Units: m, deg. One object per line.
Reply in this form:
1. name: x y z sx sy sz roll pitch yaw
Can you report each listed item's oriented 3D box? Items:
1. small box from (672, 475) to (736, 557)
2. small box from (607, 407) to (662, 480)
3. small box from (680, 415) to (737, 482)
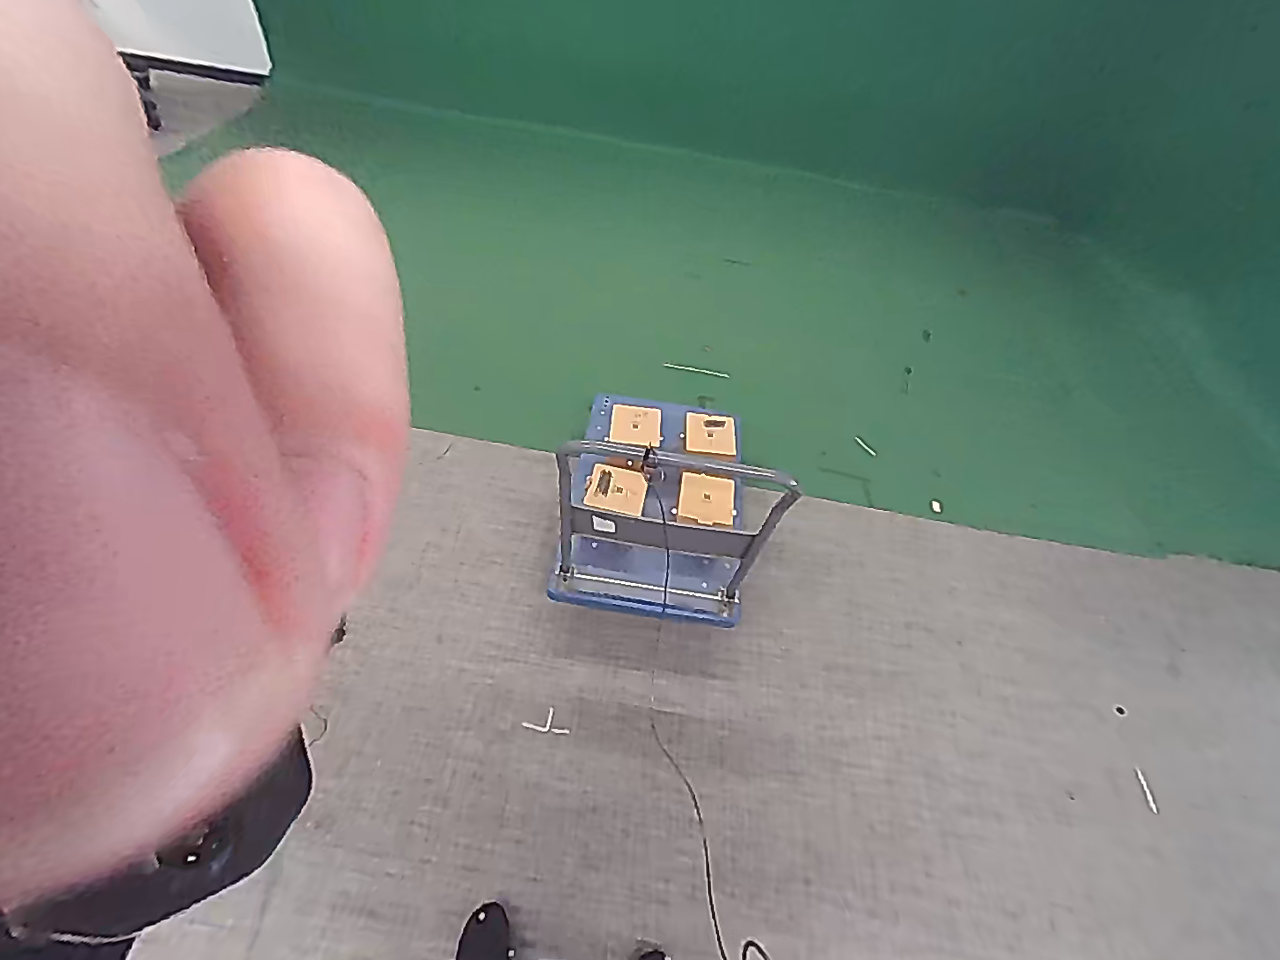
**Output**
1. small box: 0.196 0.112 1.684 0.168 0.176 0.179 10 52 1
2. small box: -0.020 -0.120 1.843 0.168 0.176 0.179 7 51 -3
3. small box: 0.230 -0.095 1.853 0.168 0.176 0.179 6 52 -2
